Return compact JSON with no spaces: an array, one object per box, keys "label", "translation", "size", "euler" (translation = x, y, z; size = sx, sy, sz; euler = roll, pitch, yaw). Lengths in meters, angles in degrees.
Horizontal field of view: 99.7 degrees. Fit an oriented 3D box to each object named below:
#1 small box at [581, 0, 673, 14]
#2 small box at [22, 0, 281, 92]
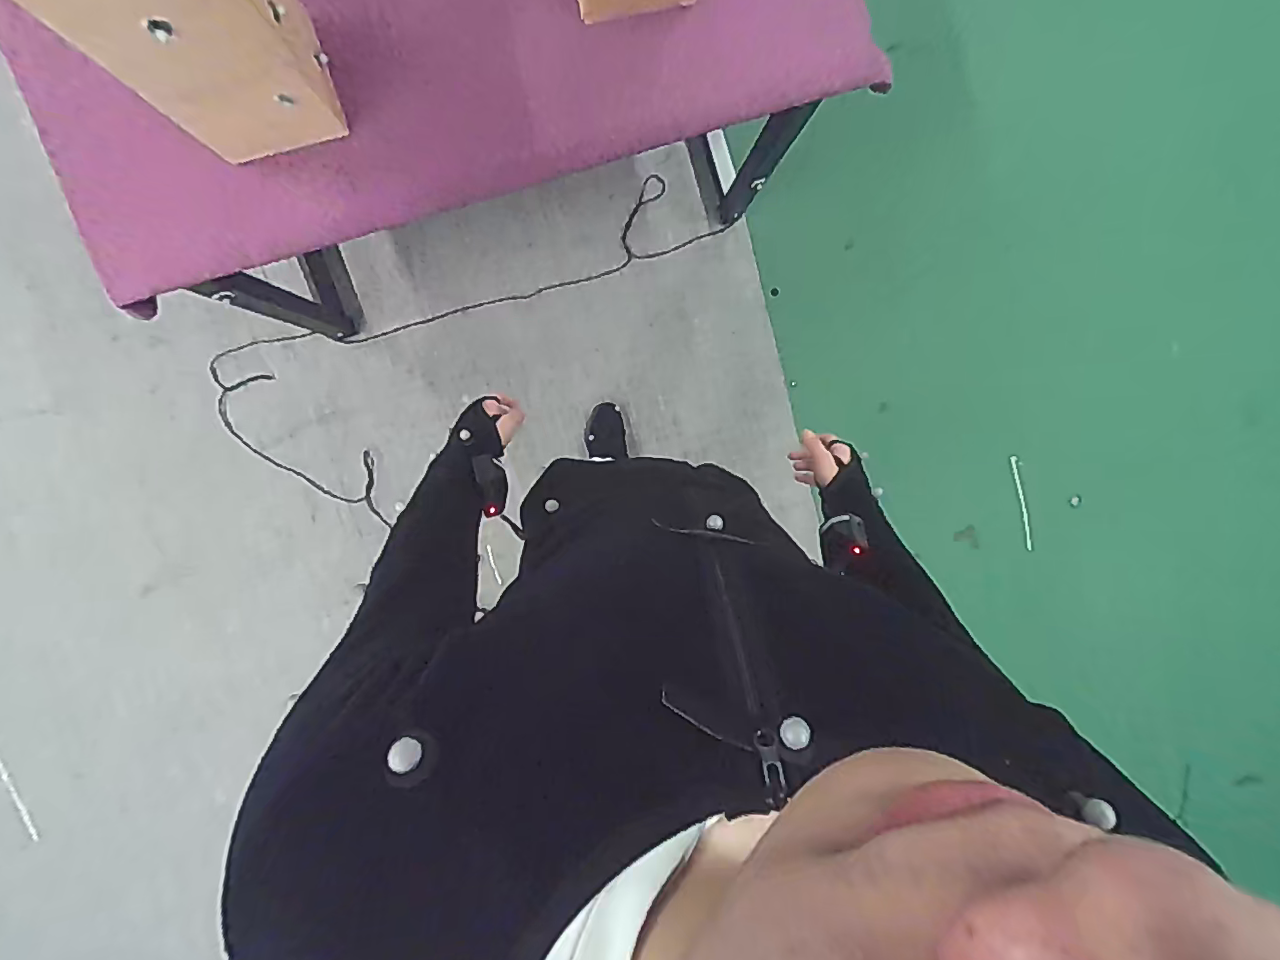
[{"label":"small box","translation":[-0.007,-0.774,0.717],"size":[0.179,0.176,0.168],"euler":[-13,98,-3]},{"label":"small box","translation":[-0.494,-0.530,0.527],"size":[0.179,0.176,0.168],"euler":[-20,98,-3]}]
